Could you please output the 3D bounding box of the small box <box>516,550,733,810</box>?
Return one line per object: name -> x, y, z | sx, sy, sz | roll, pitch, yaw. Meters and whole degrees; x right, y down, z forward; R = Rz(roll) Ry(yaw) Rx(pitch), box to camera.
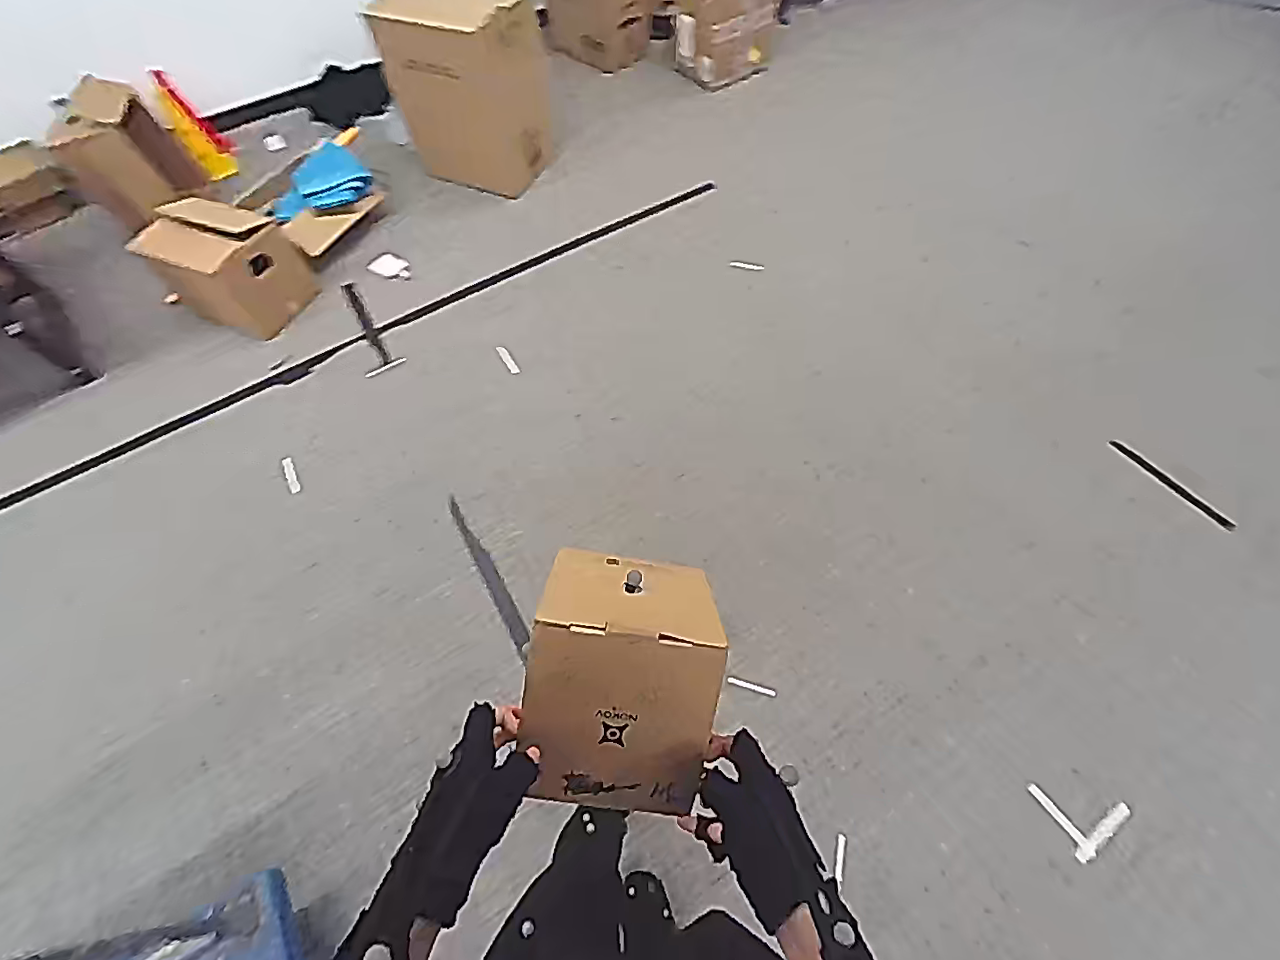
small box -> -0.018, 0.186, 0.547 | 0.168, 0.176, 0.179 | 10, 103, -3
